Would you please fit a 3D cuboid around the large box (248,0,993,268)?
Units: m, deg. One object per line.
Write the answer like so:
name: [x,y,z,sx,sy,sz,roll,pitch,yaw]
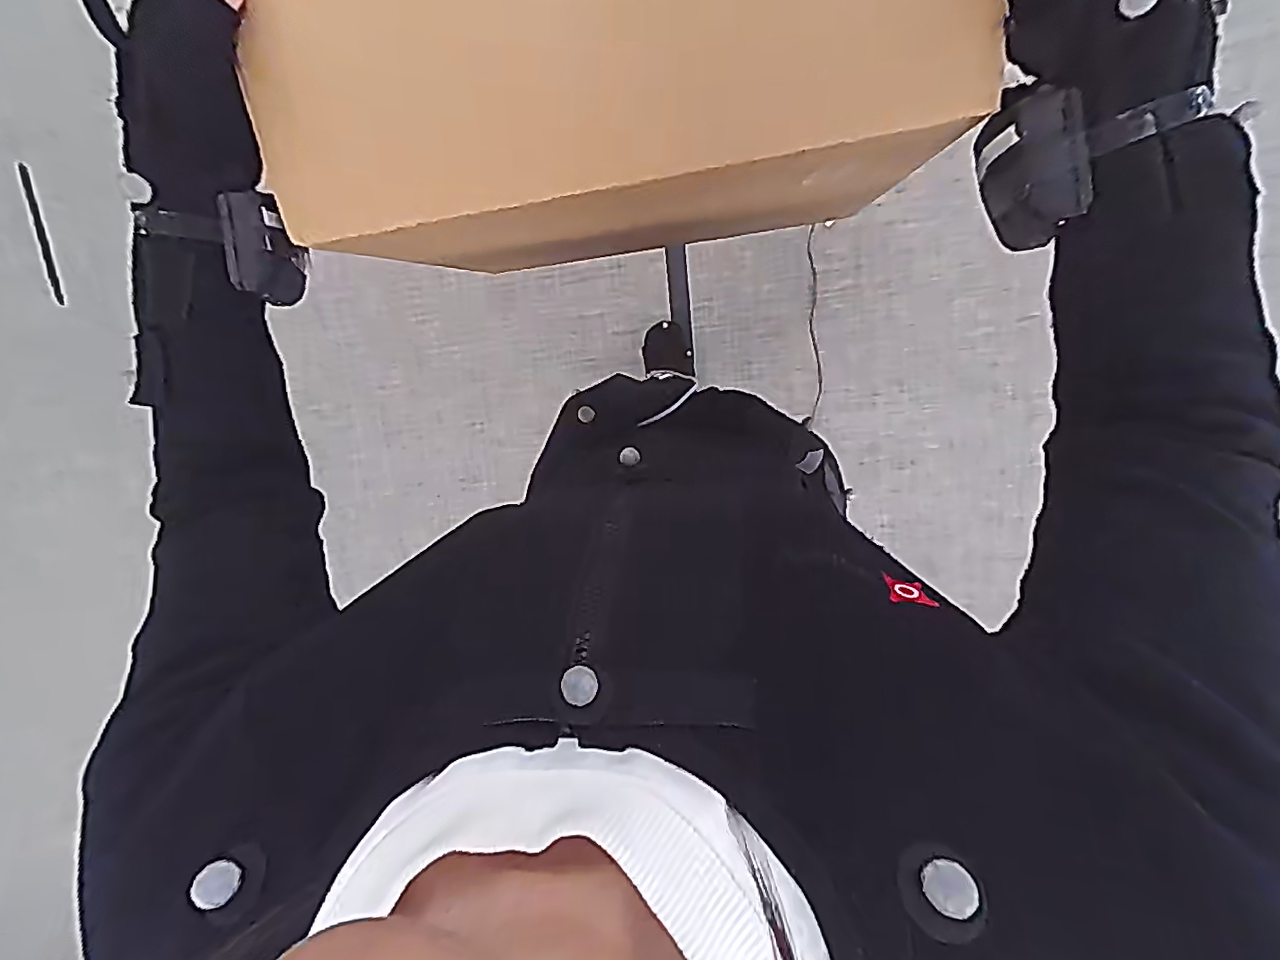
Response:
large box: [-0.017,-0.368,0.414,0.408,0.320,0.320,-6,107,10]
